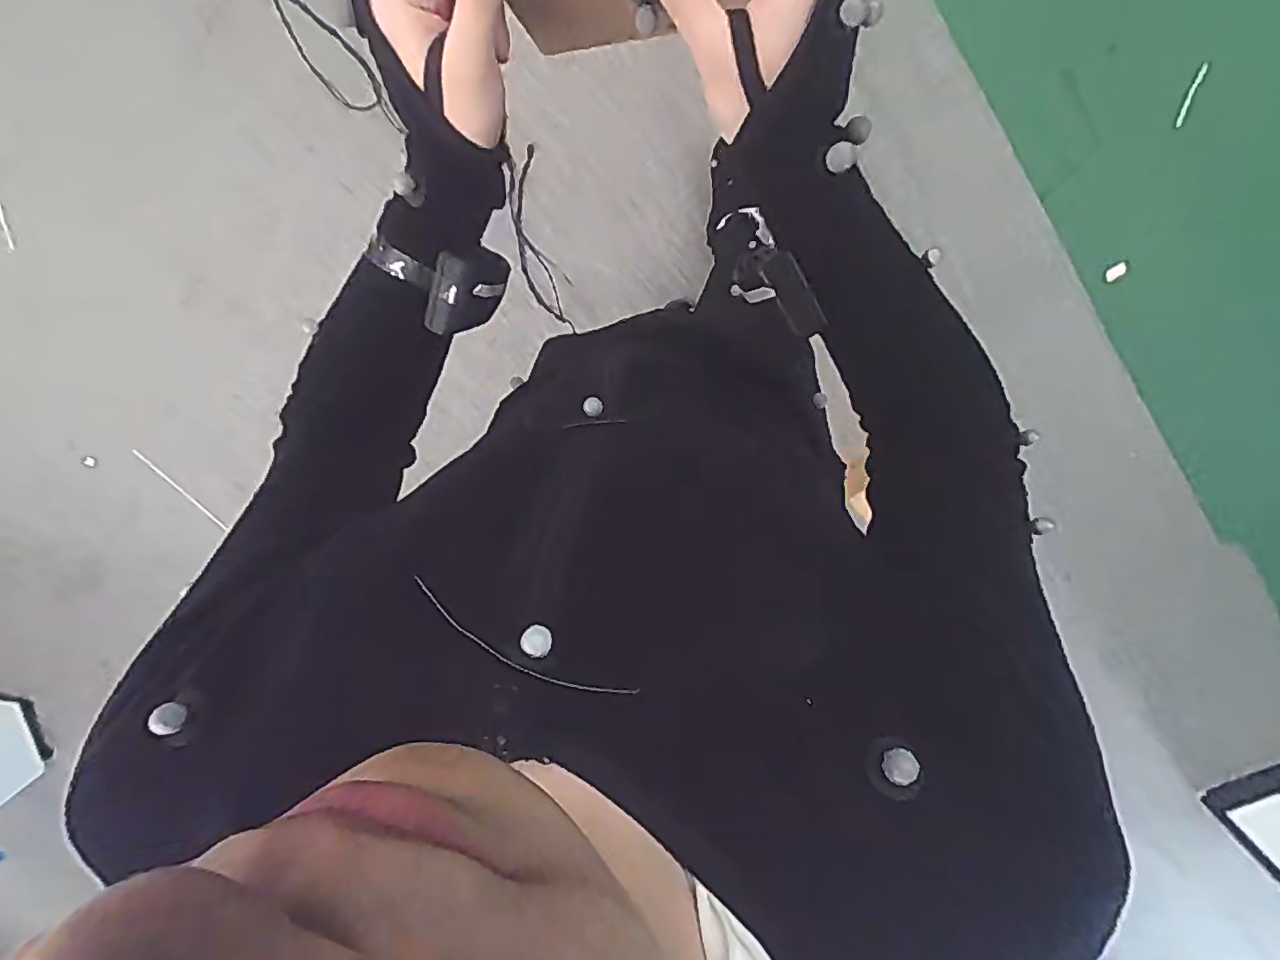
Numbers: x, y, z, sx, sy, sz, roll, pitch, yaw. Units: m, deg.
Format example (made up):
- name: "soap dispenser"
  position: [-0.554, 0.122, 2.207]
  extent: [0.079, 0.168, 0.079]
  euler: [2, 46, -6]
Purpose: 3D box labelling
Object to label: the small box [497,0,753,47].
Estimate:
- name: "small box"
  position: [-0.010, -0.377, 0.305]
  extent: [0.168, 0.176, 0.179]
  euler: [-7, 115, 5]
